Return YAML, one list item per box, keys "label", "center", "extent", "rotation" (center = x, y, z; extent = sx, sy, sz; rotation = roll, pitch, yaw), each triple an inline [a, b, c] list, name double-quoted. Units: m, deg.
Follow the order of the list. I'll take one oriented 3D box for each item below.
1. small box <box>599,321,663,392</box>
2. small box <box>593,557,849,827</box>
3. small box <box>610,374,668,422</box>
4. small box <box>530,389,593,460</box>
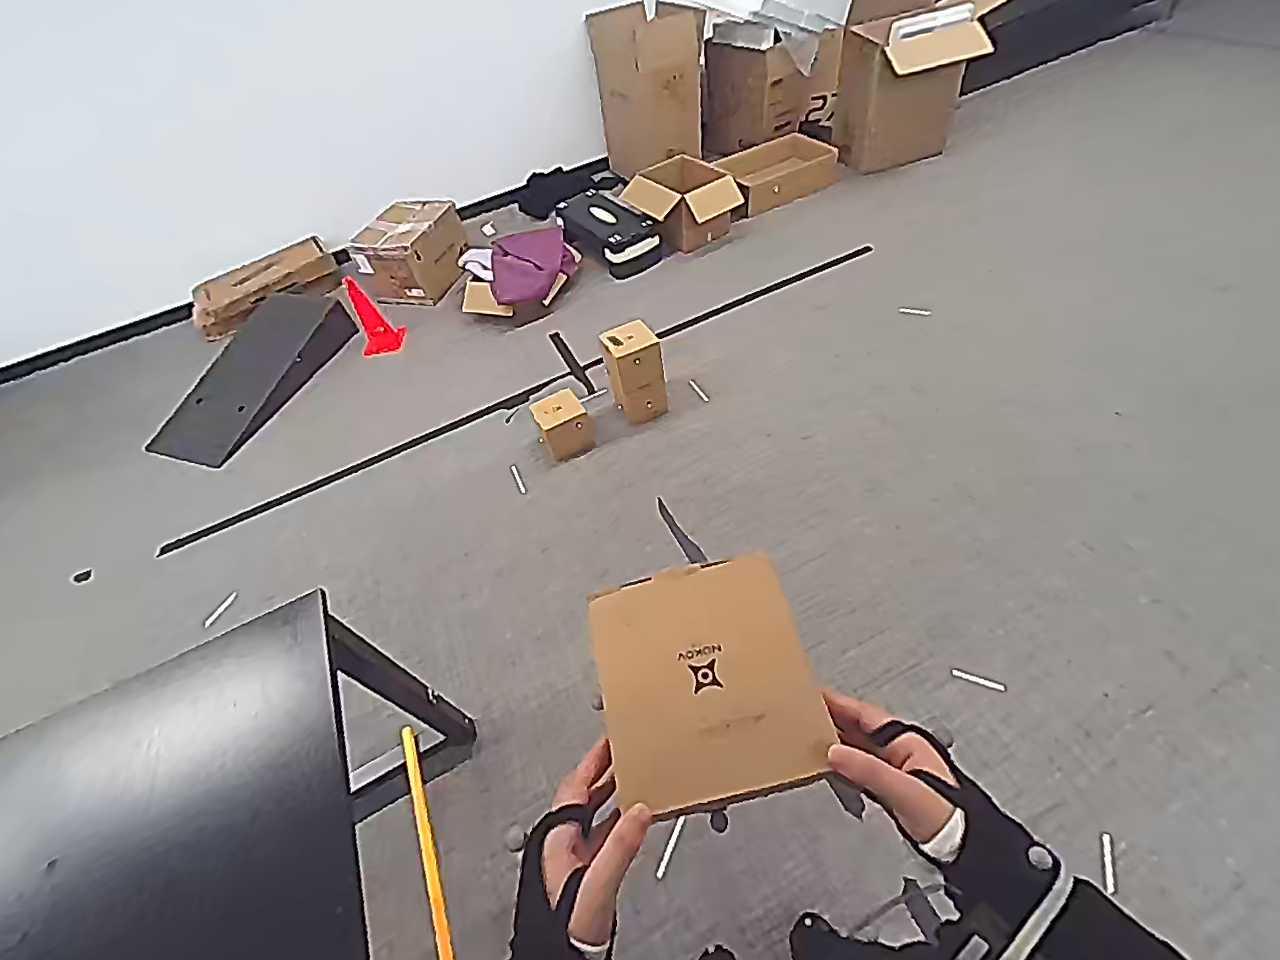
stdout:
- label: "small box"
  center: [-0.029, -0.453, 1.997]
  extent: [0.179, 0.176, 0.168]
  rotation: [-25, 51, -11]
- label: "small box"
  center: [0.059, 0.196, 0.490]
  extent: [0.168, 0.176, 0.179]
  rotation: [-13, 57, -2]
- label: "small box"
  center: [-0.002, -0.350, 2.125]
  extent: [0.168, 0.176, 0.179]
  rotation: [-24, 52, -10]
- label: "small box"
  center: [-0.292, -0.209, 2.059]
  extent: [0.179, 0.176, 0.168]
  rotation: [-28, 51, -12]
